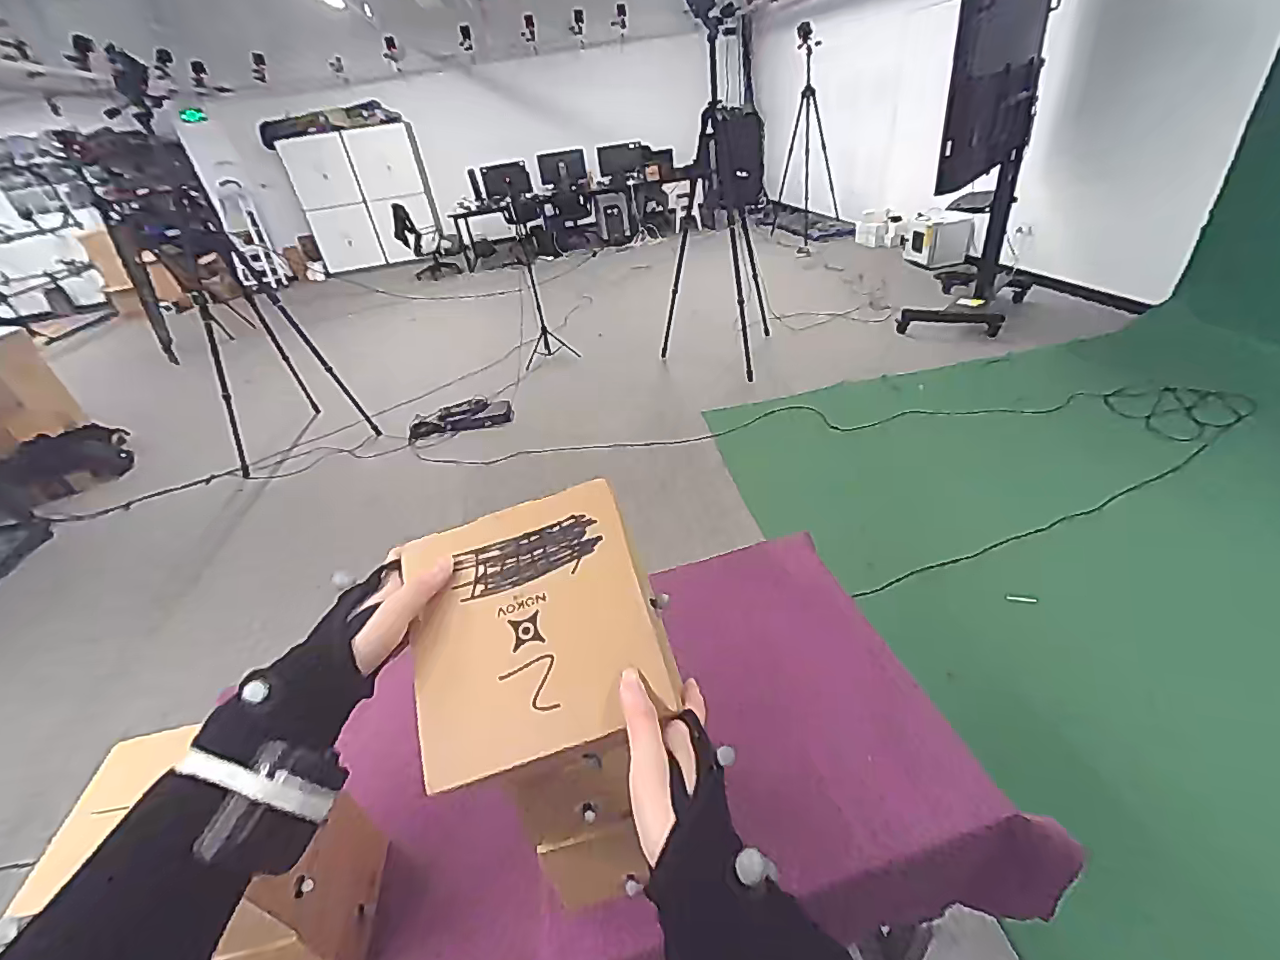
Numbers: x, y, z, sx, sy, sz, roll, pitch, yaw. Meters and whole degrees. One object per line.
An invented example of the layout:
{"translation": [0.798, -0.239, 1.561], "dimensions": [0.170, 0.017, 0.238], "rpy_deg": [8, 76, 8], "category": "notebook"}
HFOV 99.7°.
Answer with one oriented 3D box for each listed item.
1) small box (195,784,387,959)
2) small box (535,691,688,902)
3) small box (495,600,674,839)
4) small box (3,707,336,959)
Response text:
{"translation": [-0.444, 0.515, 0.664], "dimensions": [0.179, 0.176, 0.168], "rpy_deg": [-11, 35, -5], "category": "small box"}
{"translation": [-0.038, 0.415, 0.716], "dimensions": [0.179, 0.176, 0.168], "rpy_deg": [-12, 34, -6], "category": "small box"}
{"translation": [-0.063, 0.276, 0.634], "dimensions": [0.168, 0.176, 0.179], "rpy_deg": [-13, 35, -4], "category": "small box"}
{"translation": [-0.460, 0.378, 0.574], "dimensions": [0.179, 0.176, 0.168], "rpy_deg": [-13, 35, -5], "category": "small box"}
